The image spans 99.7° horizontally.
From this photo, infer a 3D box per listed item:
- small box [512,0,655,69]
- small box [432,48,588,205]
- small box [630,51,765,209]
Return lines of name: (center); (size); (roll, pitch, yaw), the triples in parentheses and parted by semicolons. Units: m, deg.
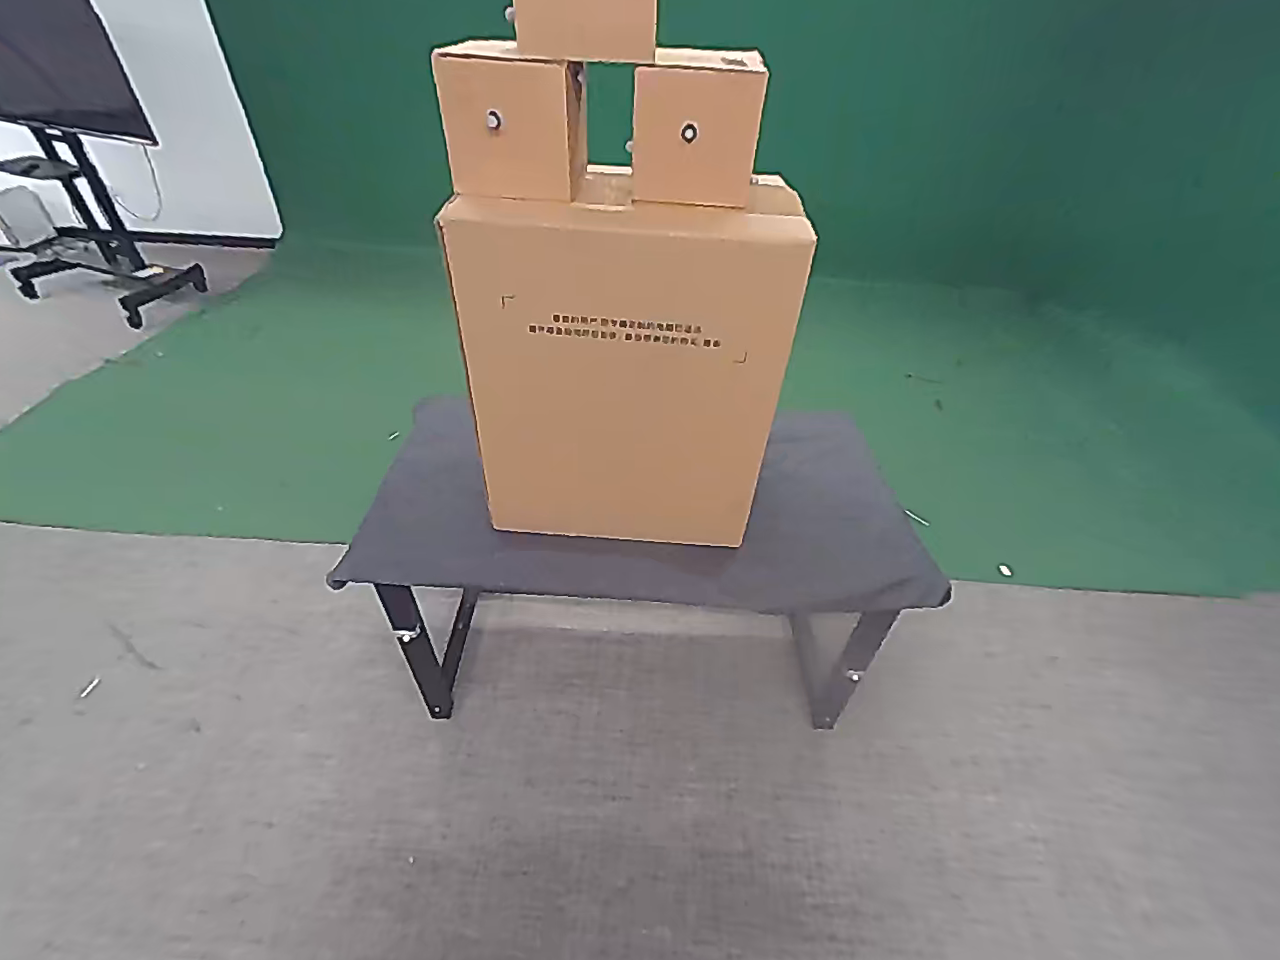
small box: (-0.072, -0.639, 0.692); (0.179, 0.176, 0.168); (-3, 43, -5)
small box: (-0.177, -0.523, 0.802); (0.179, 0.176, 0.168); (5, 44, 2)
small box: (0.081, -0.523, 0.812); (0.179, 0.176, 0.168); (4, 45, 3)
